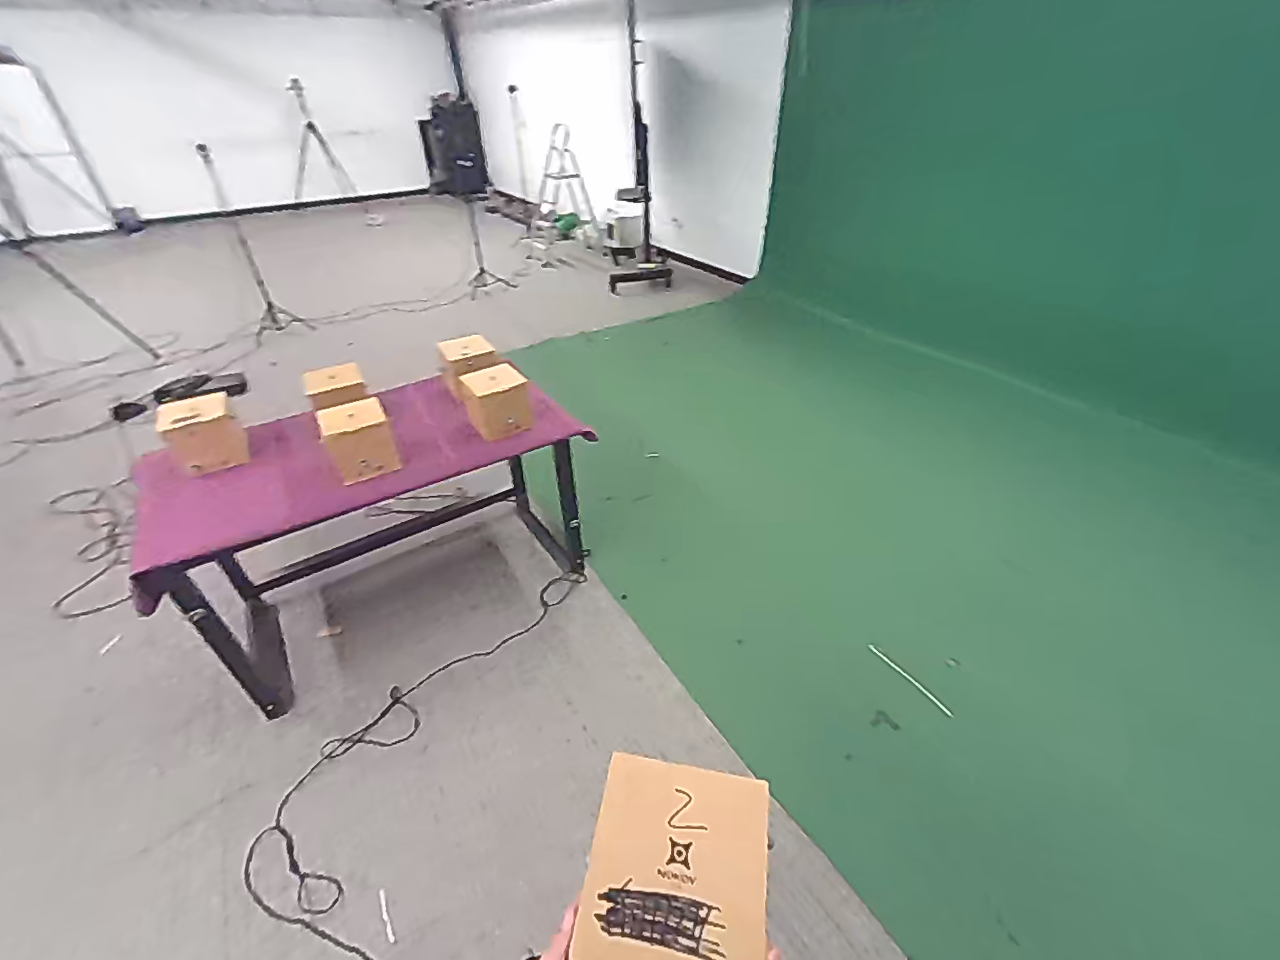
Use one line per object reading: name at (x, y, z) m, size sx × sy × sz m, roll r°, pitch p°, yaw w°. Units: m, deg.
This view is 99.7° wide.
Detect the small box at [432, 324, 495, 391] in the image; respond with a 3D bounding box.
small box at (-0.628, -0.441, 1.949) m, size 0.168 × 0.176 × 0.179 m, roll -22°, pitch 43°, yaw -24°

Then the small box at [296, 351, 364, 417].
small box at (-1.001, -0.299, 1.772) m, size 0.168 × 0.176 × 0.179 m, roll -21°, pitch 44°, yaw -23°

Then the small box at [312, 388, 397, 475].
small box at (-0.828, -0.141, 1.572) m, size 0.168 × 0.176 × 0.179 m, roll -21°, pitch 42°, yaw -25°

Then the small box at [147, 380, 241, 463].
small box at (-1.311, -0.169, 1.600) m, size 0.168 × 0.176 × 0.179 m, roll -21°, pitch 44°, yaw -25°

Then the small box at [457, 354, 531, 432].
small box at (-0.470, -0.281, 1.742) m, size 0.168 × 0.176 × 0.179 m, roll -24°, pitch 44°, yaw -25°
